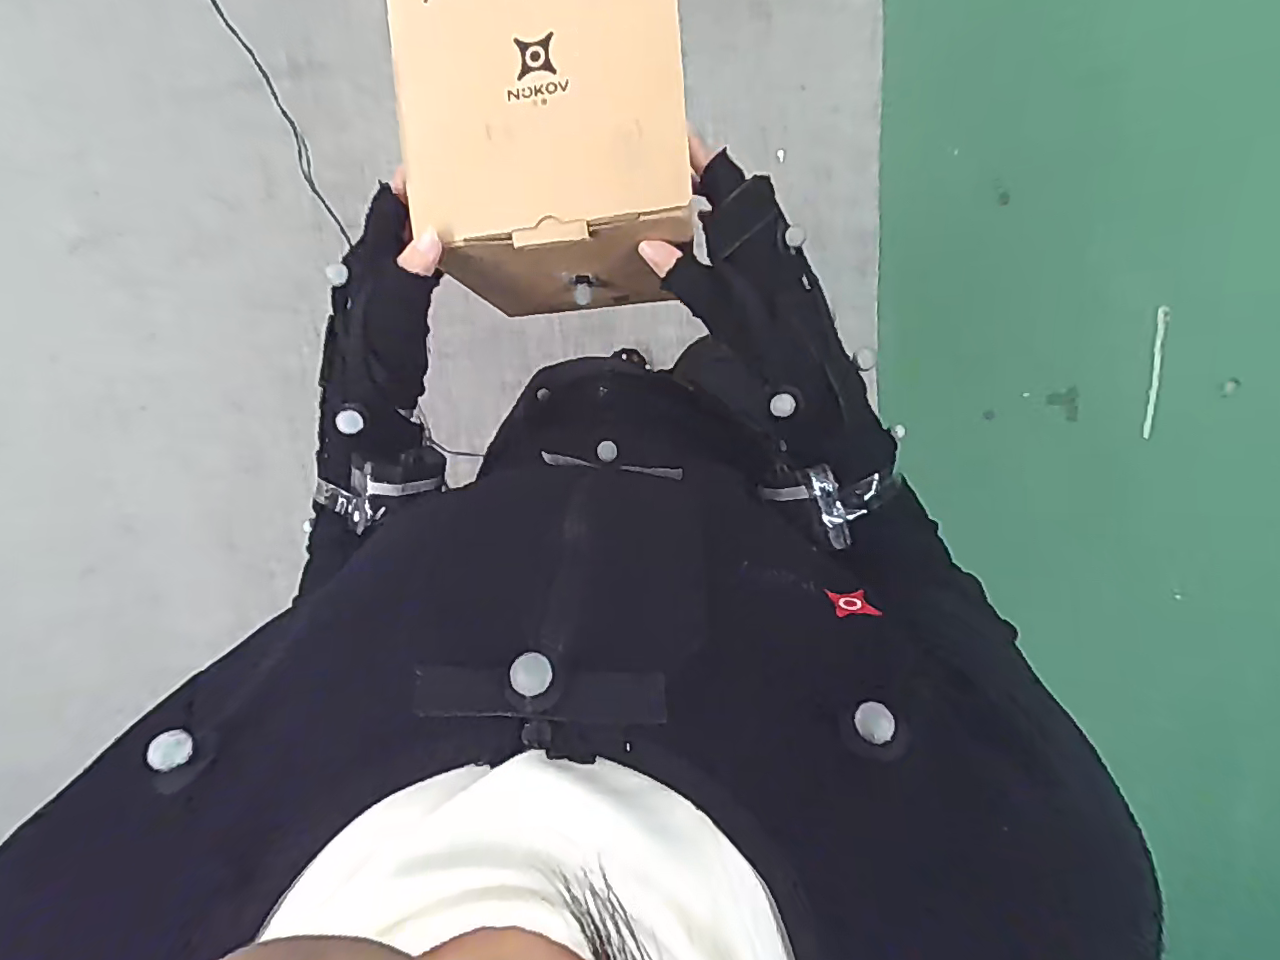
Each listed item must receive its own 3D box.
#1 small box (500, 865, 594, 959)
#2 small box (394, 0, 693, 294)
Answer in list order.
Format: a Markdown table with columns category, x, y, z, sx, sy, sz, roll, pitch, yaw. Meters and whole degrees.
| category | x | y | z | sx | sy | sz | roll | pitch | yaw |
| --- | --- | --- | --- | --- | --- | --- | --- | --- | --- |
| small box | -0.211 | 1.046 | 1.269 | 0.179 | 0.176 | 0.168 | -6 | 101 | 3 |
| small box | -0.050 | -0.244 | 0.391 | 0.168 | 0.176 | 0.179 | -5 | 94 | 7 |
